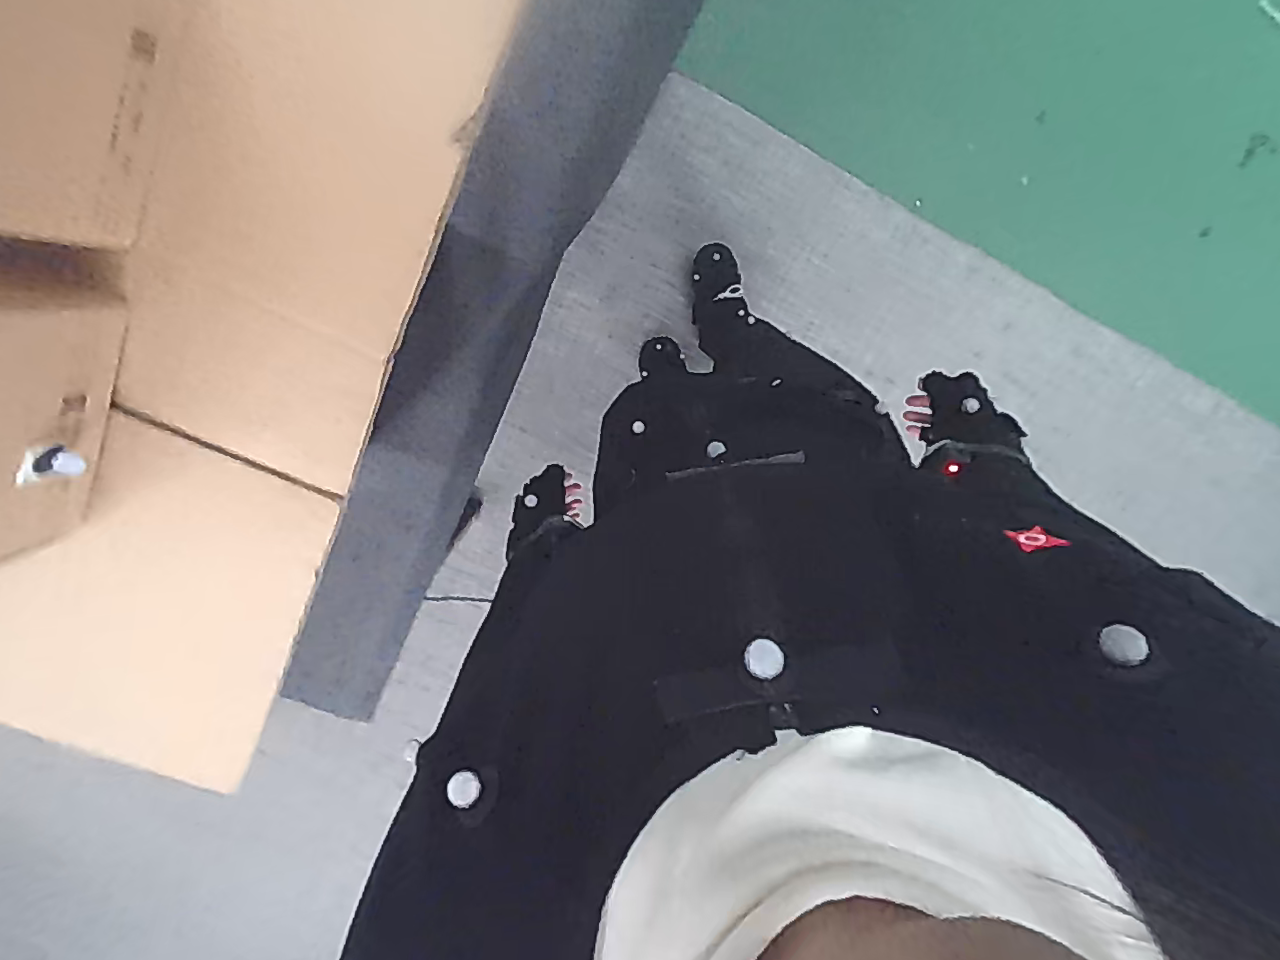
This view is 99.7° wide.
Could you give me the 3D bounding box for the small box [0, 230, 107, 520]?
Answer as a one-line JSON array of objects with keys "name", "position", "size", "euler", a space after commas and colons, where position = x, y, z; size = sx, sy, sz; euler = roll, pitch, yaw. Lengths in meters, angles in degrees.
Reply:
[{"name": "small box", "position": [-0.415, -0.057, 0.243], "size": [0.179, 0.176, 0.168], "euler": [24, 108, -10]}]
